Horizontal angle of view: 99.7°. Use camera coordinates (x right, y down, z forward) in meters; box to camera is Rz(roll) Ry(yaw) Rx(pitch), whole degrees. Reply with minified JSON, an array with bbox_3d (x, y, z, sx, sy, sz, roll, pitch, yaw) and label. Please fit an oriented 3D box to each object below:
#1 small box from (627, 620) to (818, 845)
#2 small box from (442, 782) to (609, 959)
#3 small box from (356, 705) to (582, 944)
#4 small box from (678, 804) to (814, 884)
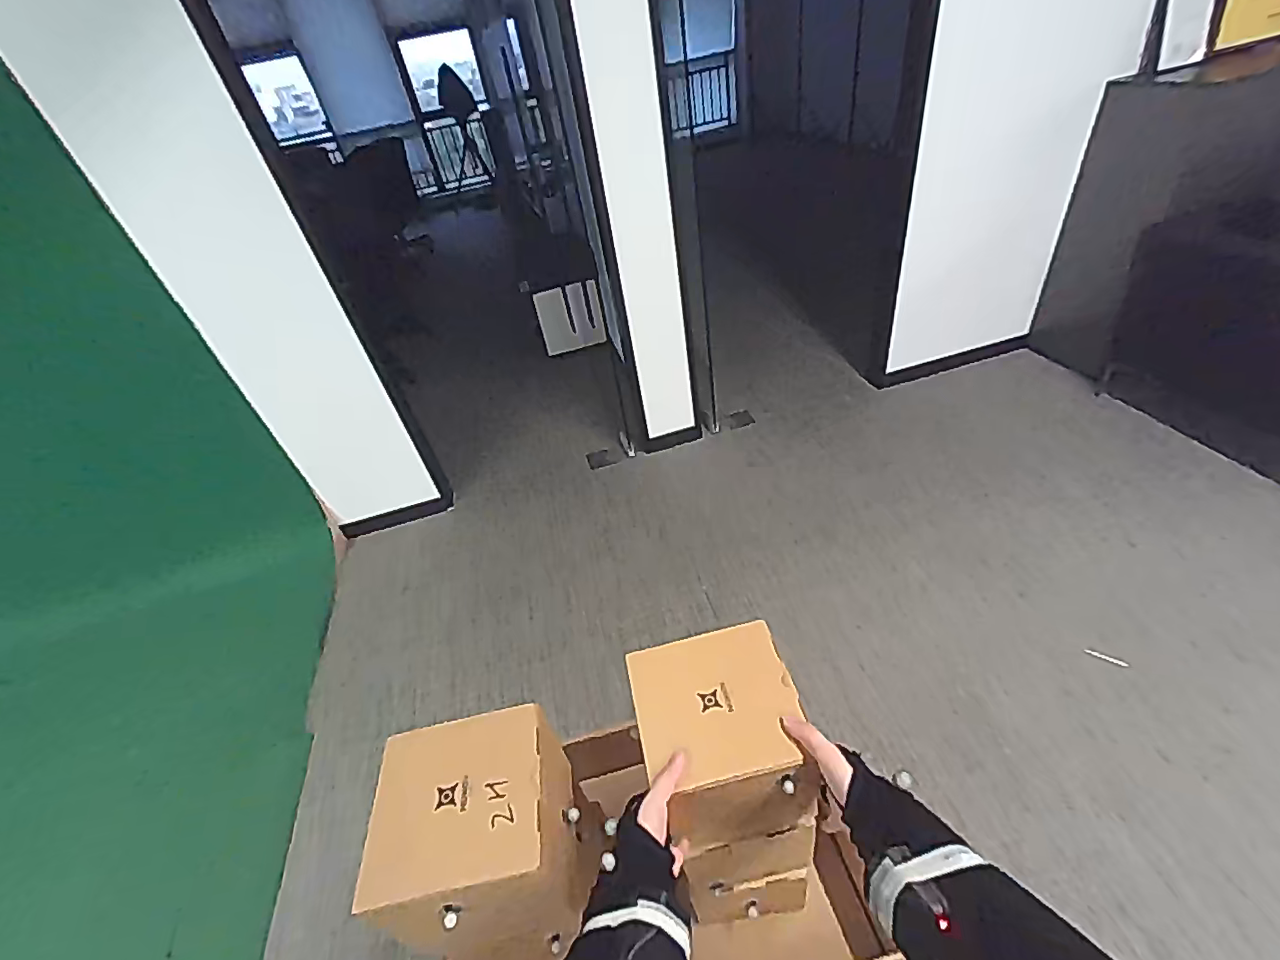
[{"bbox_3d":[0.095,0.300,0.640,0.179,0.176,0.168,-14,39,-2],"label":"small box"},{"bbox_3d":[-0.144,0.506,0.715,0.168,0.176,0.179,-15,38,-3],"label":"small box"},{"bbox_3d":[-0.172,0.386,0.605,0.179,0.176,0.168,-13,39,0],"label":"small box"},{"bbox_3d":[0.128,0.422,0.742,0.168,0.176,0.179,-14,38,-1],"label":"small box"}]
